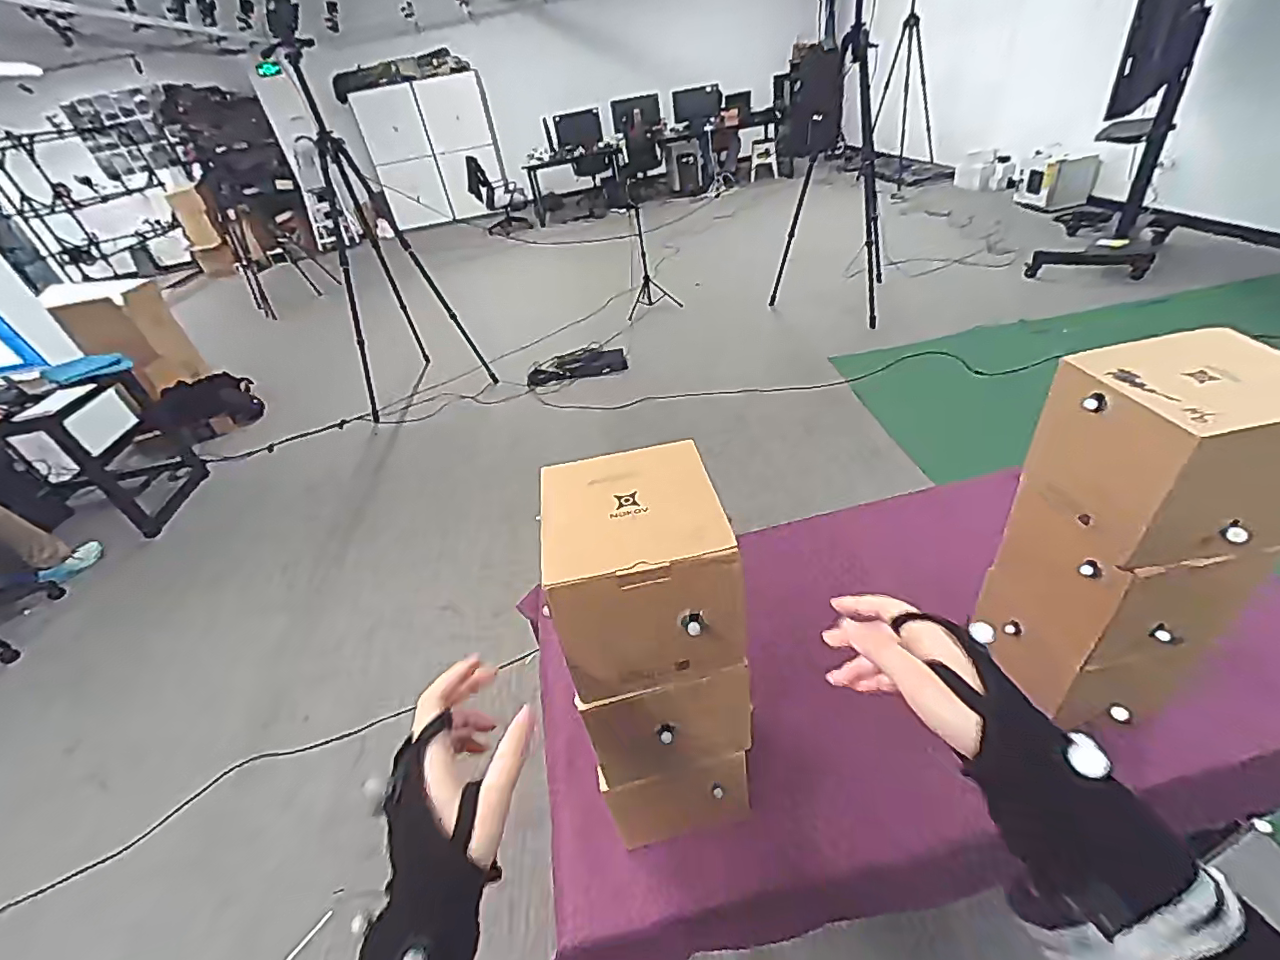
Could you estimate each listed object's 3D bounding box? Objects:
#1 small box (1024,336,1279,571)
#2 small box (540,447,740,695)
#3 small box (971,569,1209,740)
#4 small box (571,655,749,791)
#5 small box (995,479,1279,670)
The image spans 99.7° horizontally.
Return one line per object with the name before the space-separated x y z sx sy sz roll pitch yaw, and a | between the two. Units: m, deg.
small box | 0.553 -0.028 0.562 0.179 0.176 0.168 -10 37 0
small box | -0.001 0.094 0.546 0.168 0.176 0.179 -11 36 -3
small box | 0.602 0.229 0.758 0.168 0.176 0.179 -12 37 0
small box | 0.018 0.229 0.635 0.179 0.176 0.168 -14 36 -4
small box | 0.580 0.100 0.662 0.168 0.176 0.179 -11 37 -1
